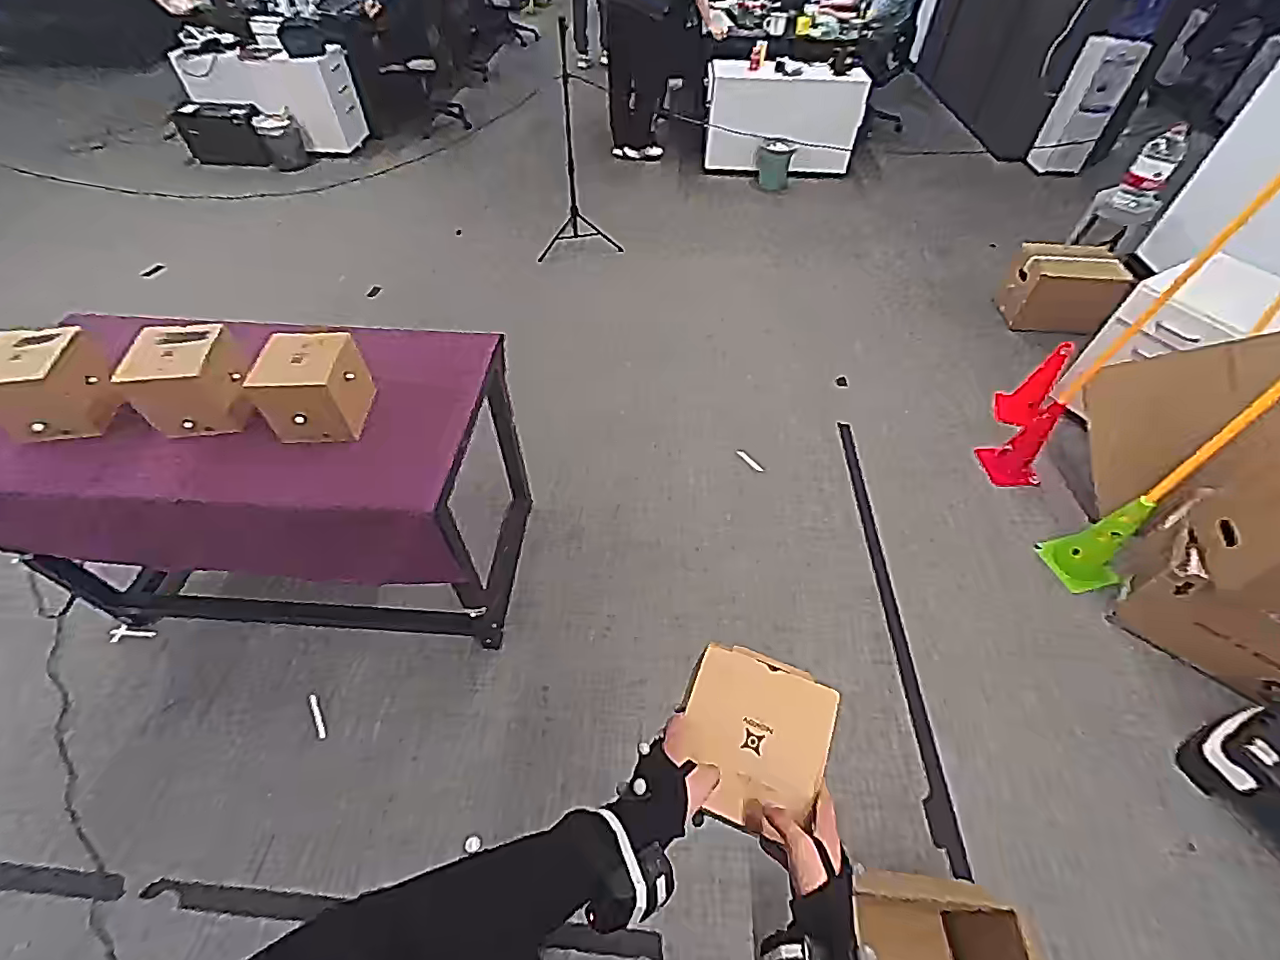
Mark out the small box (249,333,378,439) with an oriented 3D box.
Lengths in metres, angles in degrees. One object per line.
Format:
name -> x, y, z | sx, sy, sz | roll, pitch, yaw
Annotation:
small box -> -0.705, -0.204, 1.194 | 0.168, 0.176, 0.179 | -1, 50, -2

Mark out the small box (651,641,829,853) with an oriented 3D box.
small box -> 0.118, 0.337, 0.687 | 0.168, 0.176, 0.179 | 20, 60, 10

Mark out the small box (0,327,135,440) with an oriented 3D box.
small box -> -1.278, -0.211, 1.189 | 0.168, 0.176, 0.179 | -7, 52, -7
